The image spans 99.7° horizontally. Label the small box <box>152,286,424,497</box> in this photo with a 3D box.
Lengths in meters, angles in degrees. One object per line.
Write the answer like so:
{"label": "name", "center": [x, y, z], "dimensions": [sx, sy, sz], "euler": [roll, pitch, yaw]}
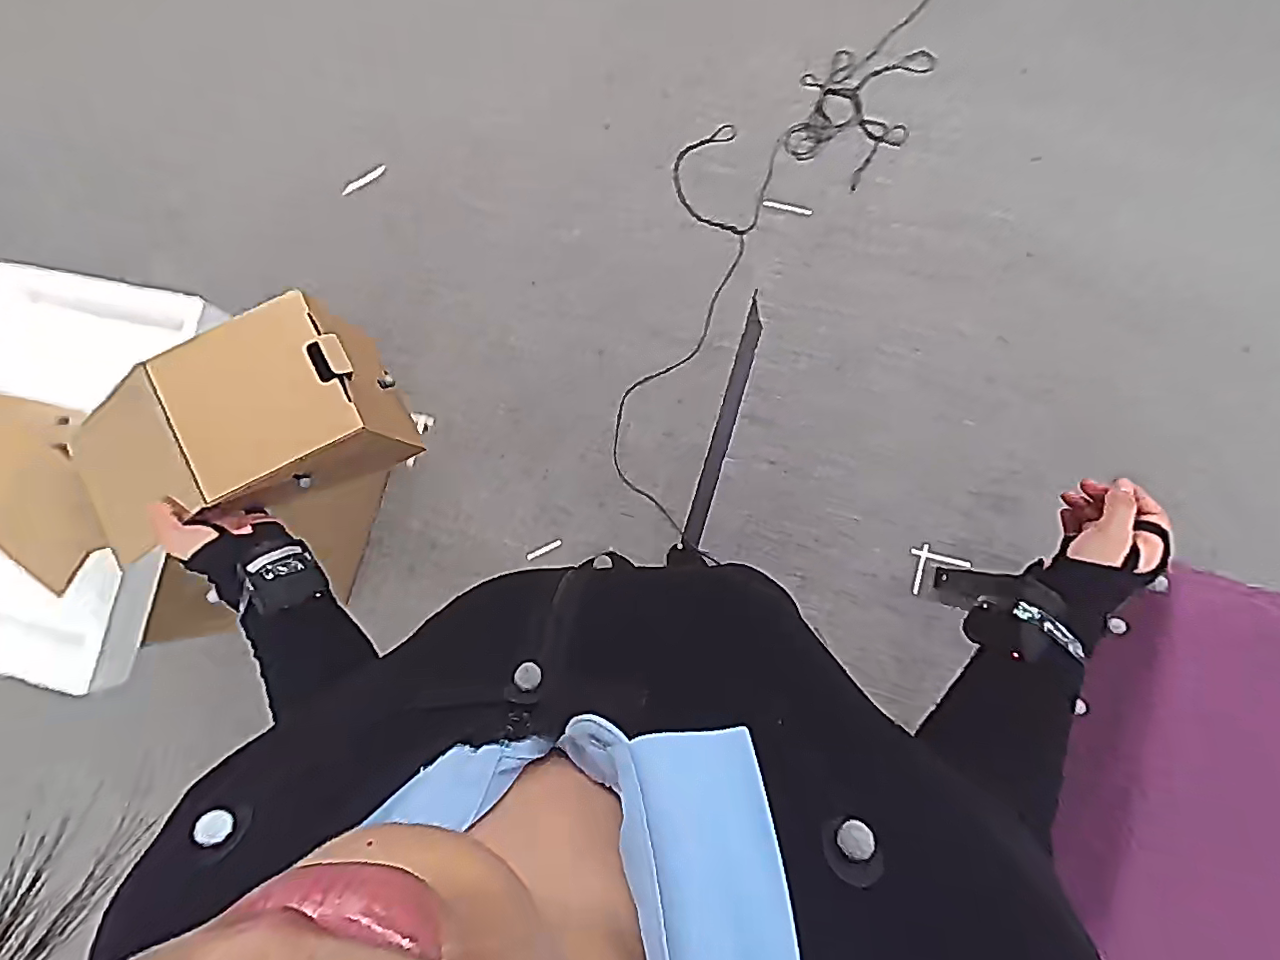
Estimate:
{"label": "small box", "center": [-0.387, -0.086, 0.627], "dimensions": [0.179, 0.176, 0.168], "euler": [-25, 87, -3]}
